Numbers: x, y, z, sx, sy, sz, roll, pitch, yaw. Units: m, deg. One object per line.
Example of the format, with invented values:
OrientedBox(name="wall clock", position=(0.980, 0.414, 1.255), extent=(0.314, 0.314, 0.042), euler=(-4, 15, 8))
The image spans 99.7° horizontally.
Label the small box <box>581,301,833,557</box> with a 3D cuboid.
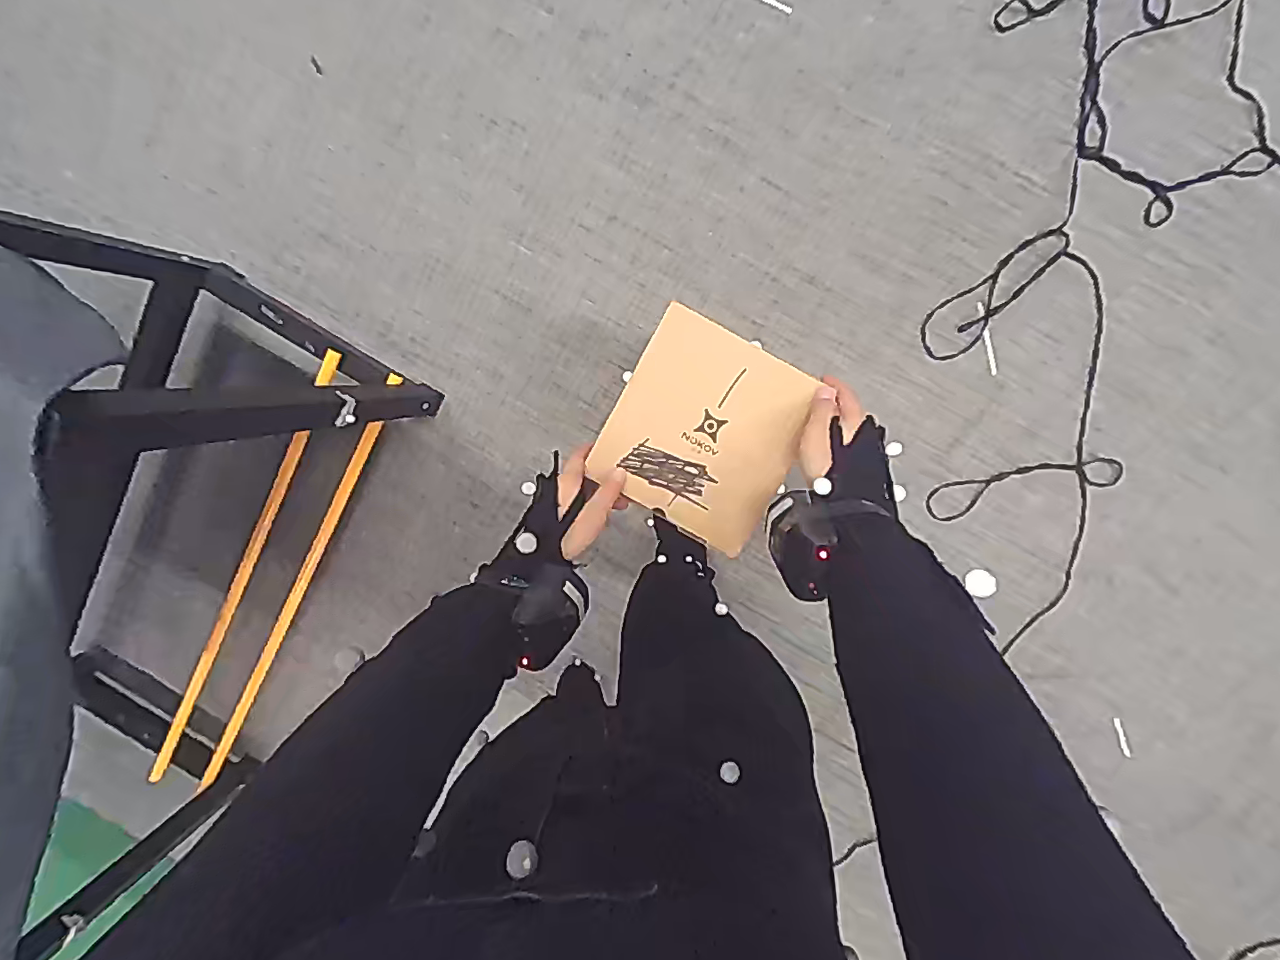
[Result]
OrientedBox(name="small box", position=(0.065, -0.053, 0.556), extent=(0.168, 0.176, 0.179), euler=(30, 100, 0))
